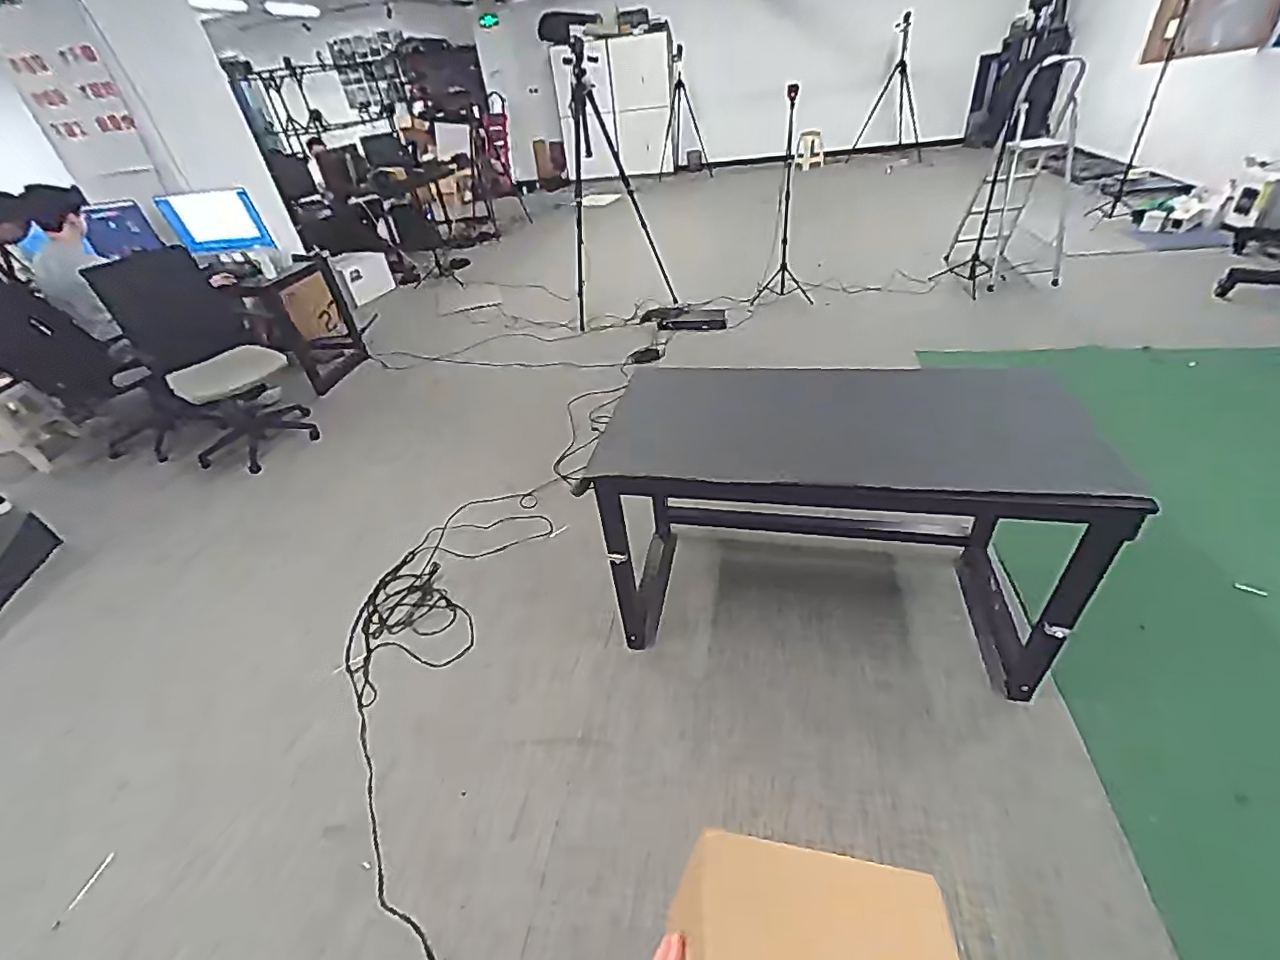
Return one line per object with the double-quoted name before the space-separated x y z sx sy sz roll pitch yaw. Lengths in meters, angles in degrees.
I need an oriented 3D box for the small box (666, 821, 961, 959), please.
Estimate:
"small box" 0.104 0.370 0.355 0.168 0.176 0.179 10 34 3
